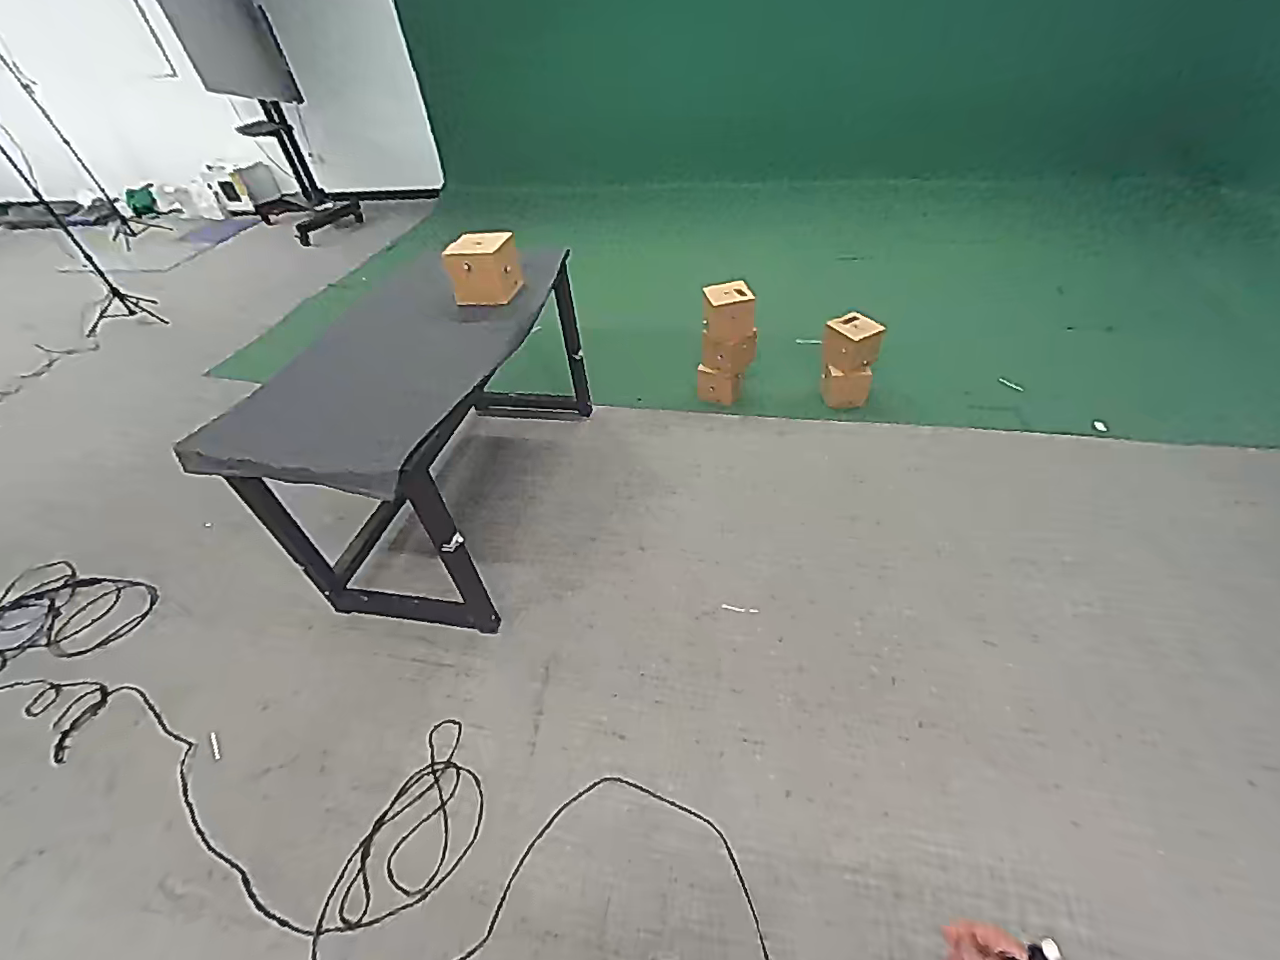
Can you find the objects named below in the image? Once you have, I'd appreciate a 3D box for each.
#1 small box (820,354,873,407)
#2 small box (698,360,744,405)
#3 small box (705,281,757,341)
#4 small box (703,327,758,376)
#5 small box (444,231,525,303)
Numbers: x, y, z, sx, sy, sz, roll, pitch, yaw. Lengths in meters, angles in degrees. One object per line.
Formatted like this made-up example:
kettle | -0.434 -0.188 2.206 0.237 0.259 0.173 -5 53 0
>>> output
small box | 0.901 -0.438 2.374 0.168 0.176 0.179 -1 43 5
small box | 0.374 -0.468 2.464 0.168 0.176 0.179 19 49 22
small box | 0.370 -0.695 2.228 0.179 0.176 0.168 -11 45 -4
small box | 0.391 -0.577 2.341 0.179 0.176 0.168 -33 52 -26
small box | -0.488 -0.679 1.730 0.179 0.176 0.168 4 45 13
